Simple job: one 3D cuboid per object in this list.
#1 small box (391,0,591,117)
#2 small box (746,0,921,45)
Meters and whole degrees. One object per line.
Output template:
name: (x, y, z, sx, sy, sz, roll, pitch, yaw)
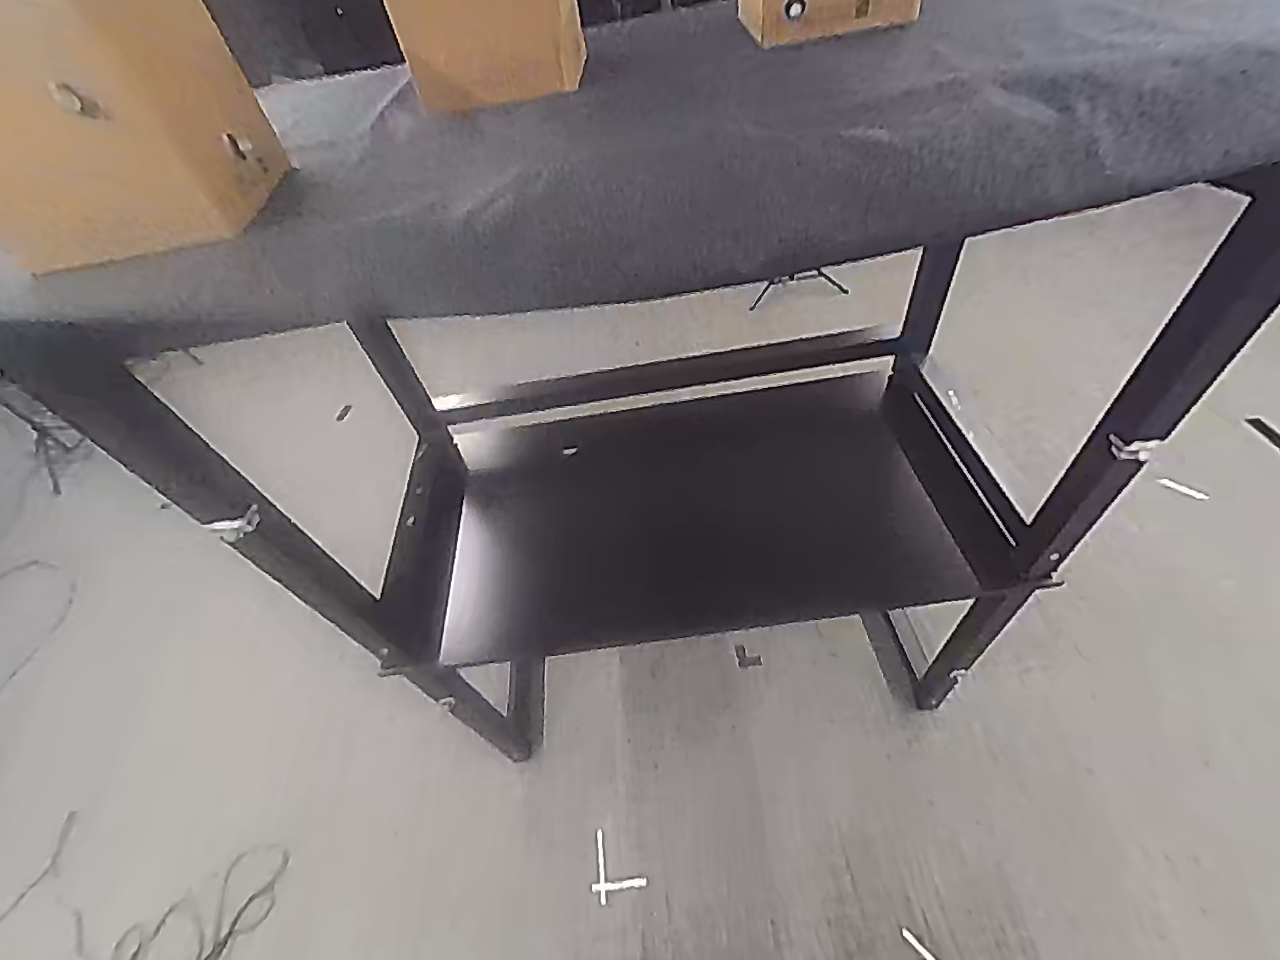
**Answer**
small box: (-0.155, -0.524, 0.585, 0.179, 0.176, 0.168, -5, 50, 7)
small box: (0.206, -0.591, 0.576, 0.168, 0.176, 0.179, -6, 49, 5)
